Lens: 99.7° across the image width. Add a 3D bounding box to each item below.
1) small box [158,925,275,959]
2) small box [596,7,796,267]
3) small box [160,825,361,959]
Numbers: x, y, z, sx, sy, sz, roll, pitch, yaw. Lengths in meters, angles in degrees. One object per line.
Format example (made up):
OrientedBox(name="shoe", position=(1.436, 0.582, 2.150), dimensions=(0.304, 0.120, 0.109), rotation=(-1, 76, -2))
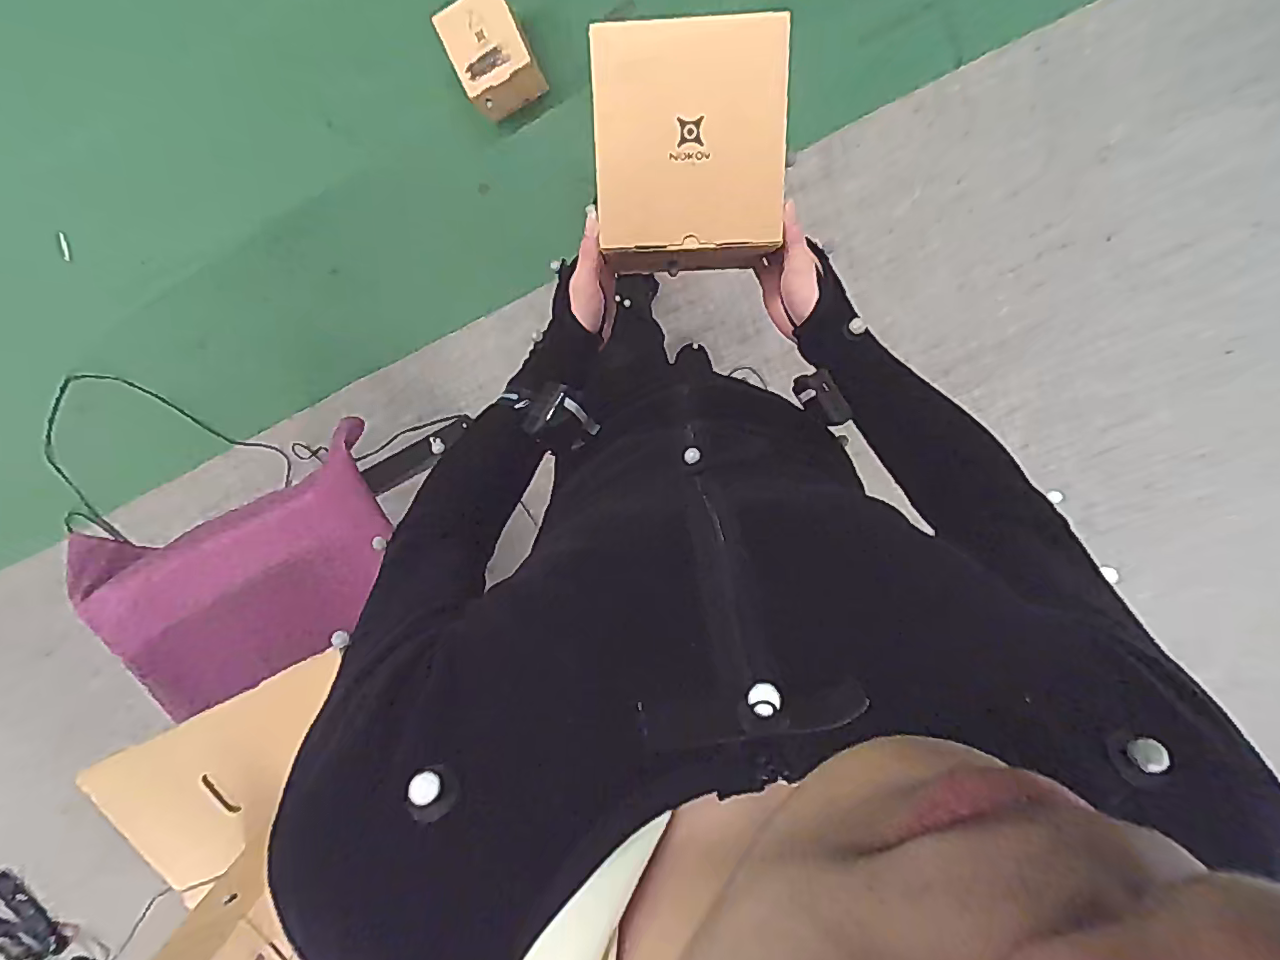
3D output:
OrientedBox(name="small box", position=(-0.605, 0.750, 0.717), dimensions=(0.179, 0.176, 0.168), rotation=(-27, 102, 11))
OrientedBox(name="small box", position=(0.047, -0.314, 0.532), dimensions=(0.168, 0.176, 0.179), rotation=(-1, 107, 2))
OrientedBox(name="small box", position=(-0.590, 0.703, 0.874), dimensions=(0.179, 0.176, 0.168), rotation=(-26, 101, 12))
